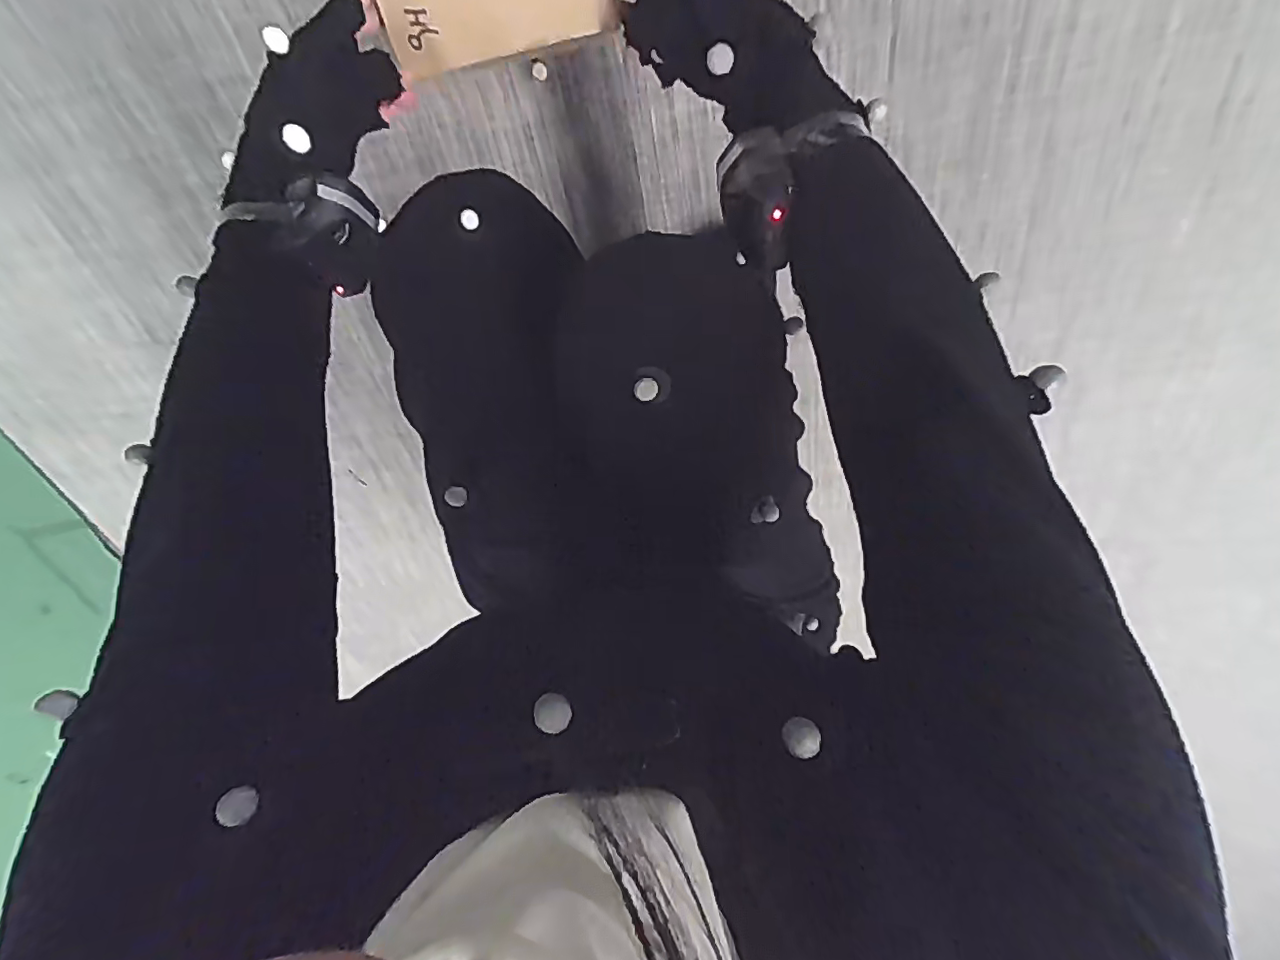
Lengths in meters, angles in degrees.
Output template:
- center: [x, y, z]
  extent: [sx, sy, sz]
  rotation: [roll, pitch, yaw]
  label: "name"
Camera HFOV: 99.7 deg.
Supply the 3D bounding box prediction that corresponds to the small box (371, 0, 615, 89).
- center: [-0.118, -0.435, 0.438]
  extent: [0.179, 0.176, 0.168]
  rotation: [-7, 126, 6]
  label: "small box"
